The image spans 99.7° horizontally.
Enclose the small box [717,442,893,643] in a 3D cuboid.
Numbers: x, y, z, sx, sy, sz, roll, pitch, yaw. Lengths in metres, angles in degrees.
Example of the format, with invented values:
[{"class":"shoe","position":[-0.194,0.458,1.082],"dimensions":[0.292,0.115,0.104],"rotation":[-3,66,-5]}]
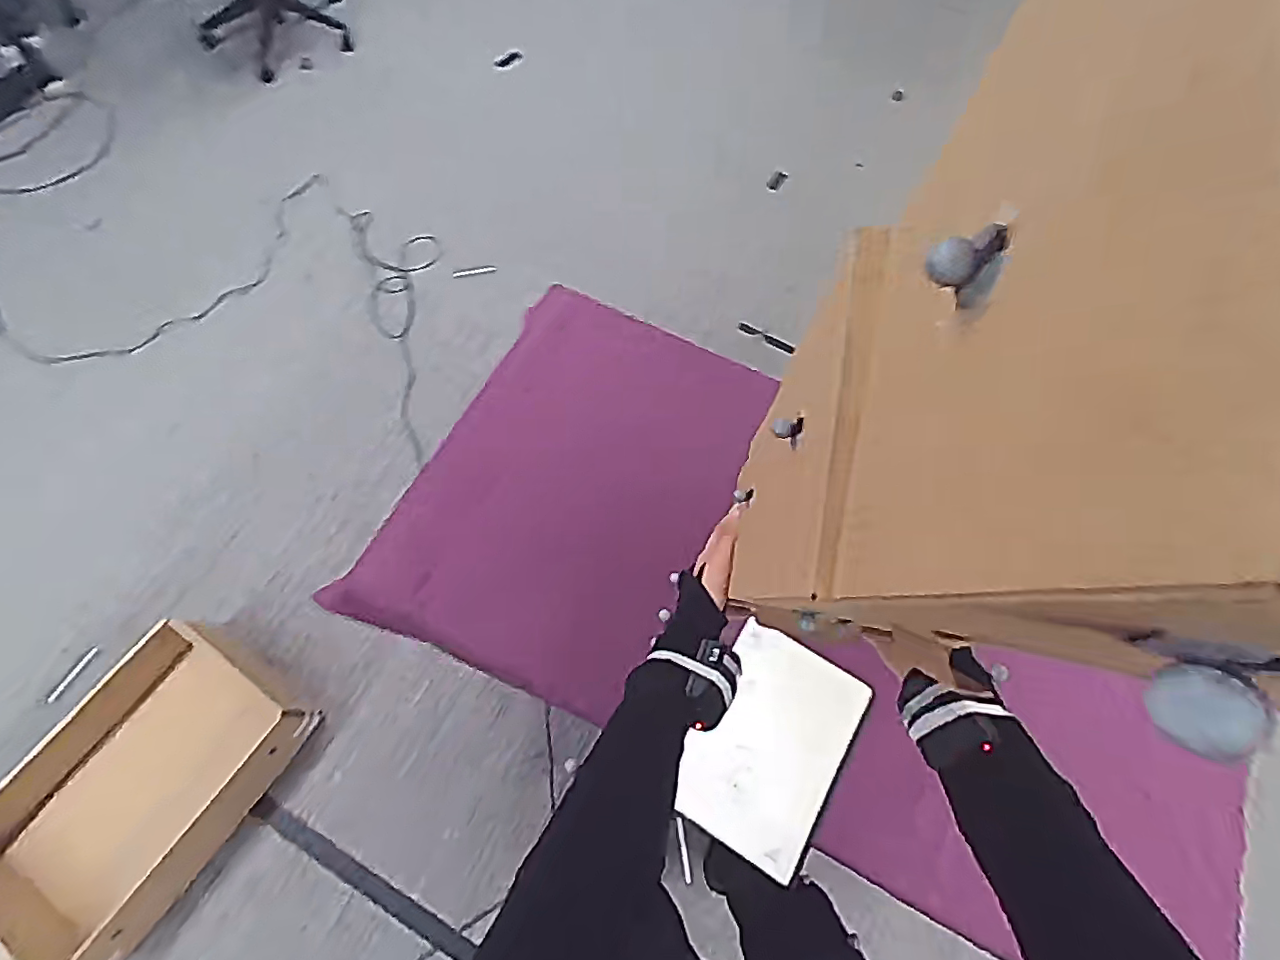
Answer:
[{"class":"small box","position":[0.185,0.071,0.610],"dimensions":[0.168,0.176,0.179],"rotation":[12,79,6]}]

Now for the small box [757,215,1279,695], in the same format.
[{"class":"small box","position":[0.163,-0.003,0.291],"dimensions":[0.168,0.176,0.179],"rotation":[9,78,5]}]

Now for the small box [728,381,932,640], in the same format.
[{"class":"small box","position":[0.175,0.035,0.450],"dimensions":[0.179,0.176,0.168],"rotation":[10,79,5]}]
